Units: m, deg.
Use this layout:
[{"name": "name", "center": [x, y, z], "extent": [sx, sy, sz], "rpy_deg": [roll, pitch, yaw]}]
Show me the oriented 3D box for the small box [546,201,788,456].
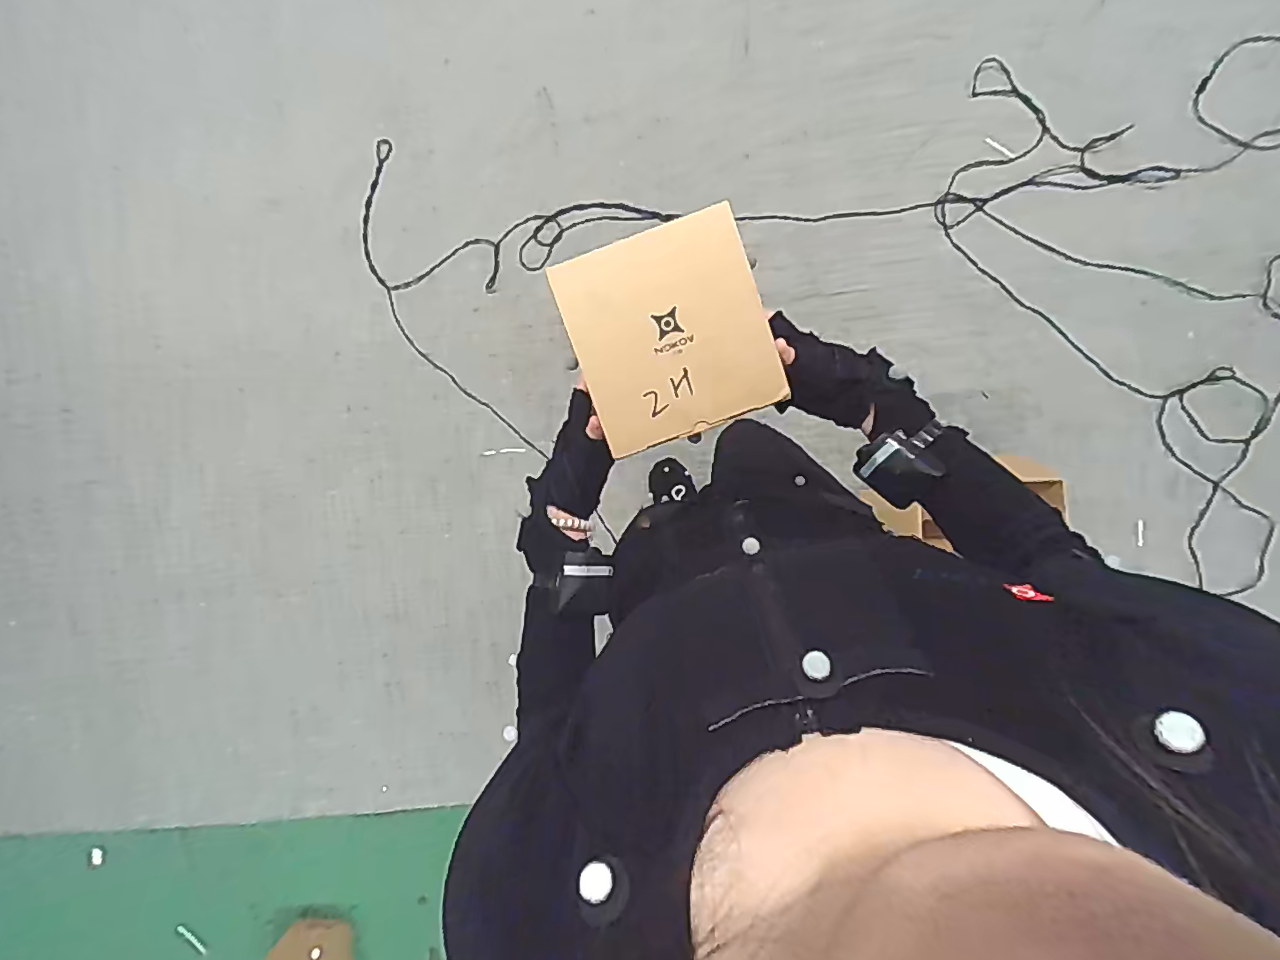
[{"name": "small box", "center": [0.023, -0.132, 0.533], "extent": [0.168, 0.176, 0.179], "rpy_deg": [-19, 96, 3]}]
